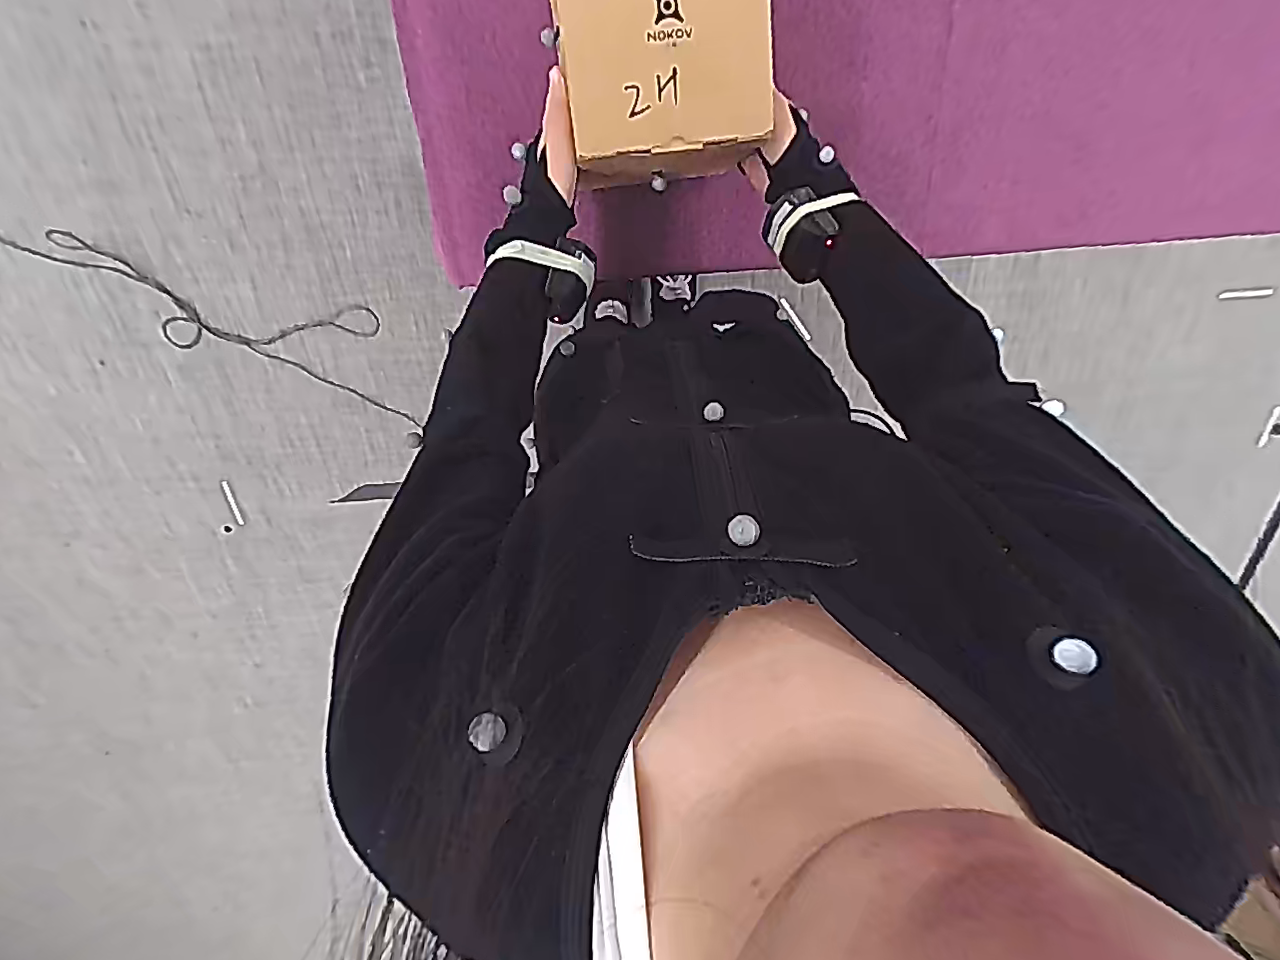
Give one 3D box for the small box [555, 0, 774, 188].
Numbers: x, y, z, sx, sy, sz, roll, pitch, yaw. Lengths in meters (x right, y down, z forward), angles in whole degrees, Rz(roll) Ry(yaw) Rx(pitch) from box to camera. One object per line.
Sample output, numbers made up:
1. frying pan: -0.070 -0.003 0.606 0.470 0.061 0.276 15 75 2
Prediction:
1. small box: 0.013 -0.384 0.490 0.168 0.176 0.179 -8 109 -3
